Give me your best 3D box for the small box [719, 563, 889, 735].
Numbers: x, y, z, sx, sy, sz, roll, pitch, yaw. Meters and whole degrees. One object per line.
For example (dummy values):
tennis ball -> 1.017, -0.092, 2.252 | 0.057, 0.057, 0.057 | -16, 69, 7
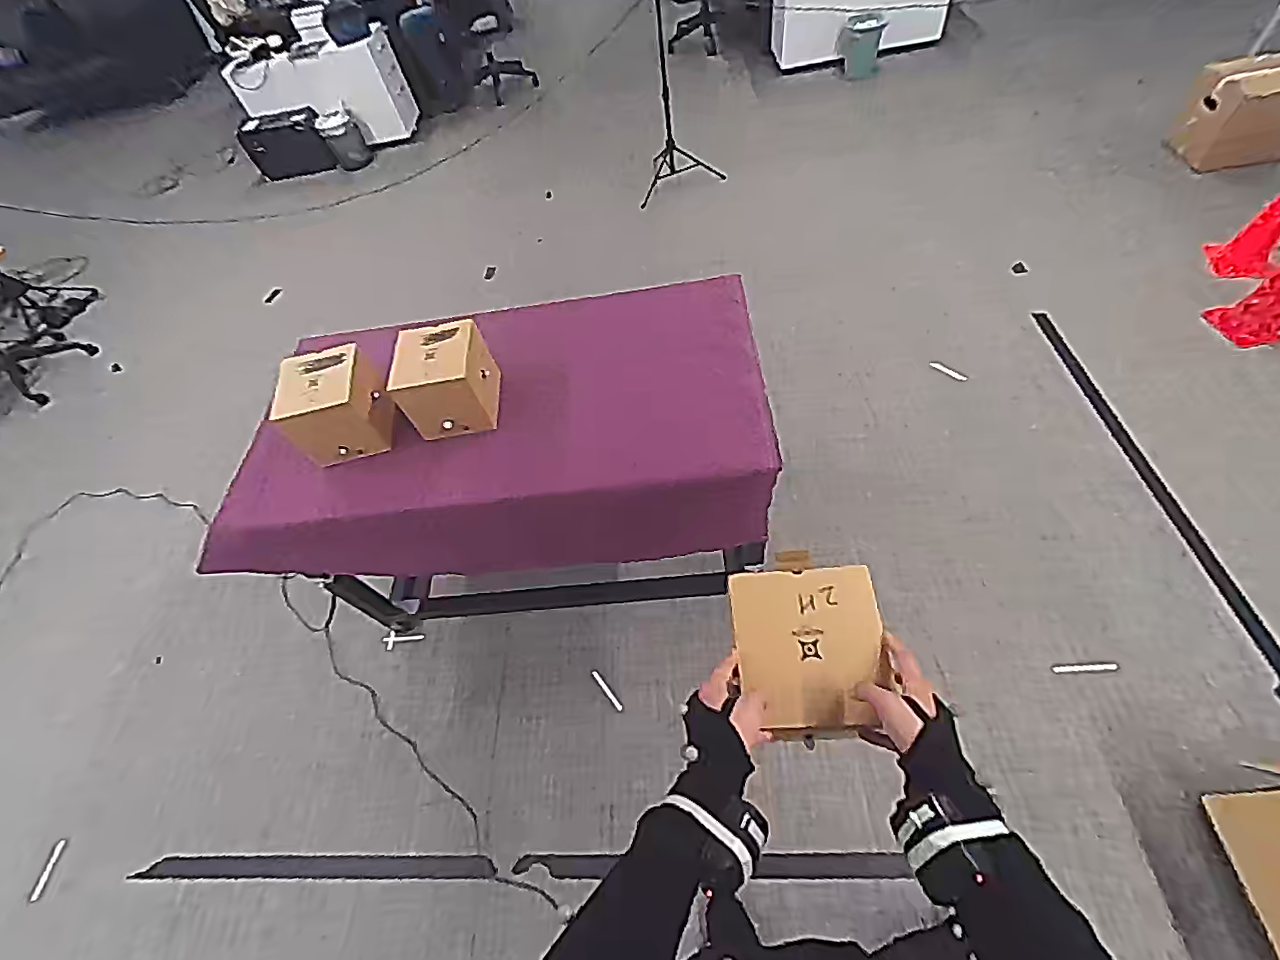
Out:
small box -> 0.192, 0.221, 0.683 | 0.168, 0.176, 0.179 | -5, 59, 6

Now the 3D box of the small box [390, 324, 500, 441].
small box -> -0.416, -0.210, 1.185 | 0.168, 0.176, 0.179 | -9, 56, 4
